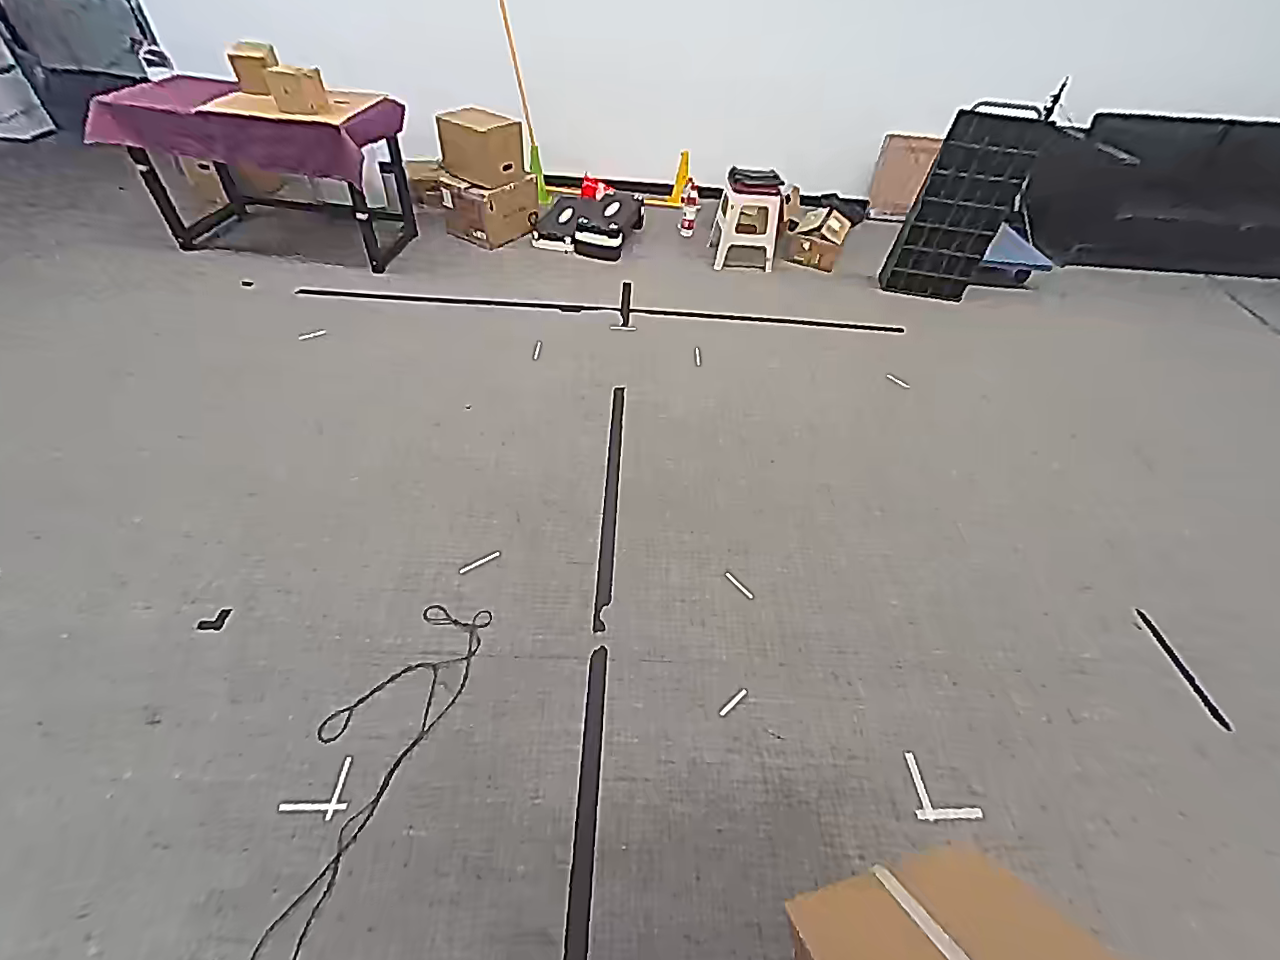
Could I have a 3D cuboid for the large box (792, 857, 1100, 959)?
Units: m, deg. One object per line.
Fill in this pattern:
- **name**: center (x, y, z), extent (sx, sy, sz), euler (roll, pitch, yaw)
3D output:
- **large box**: center (0.423, 0.740, 0.613), extent (0.320, 0.408, 0.320), euler (-11, 87, -9)
